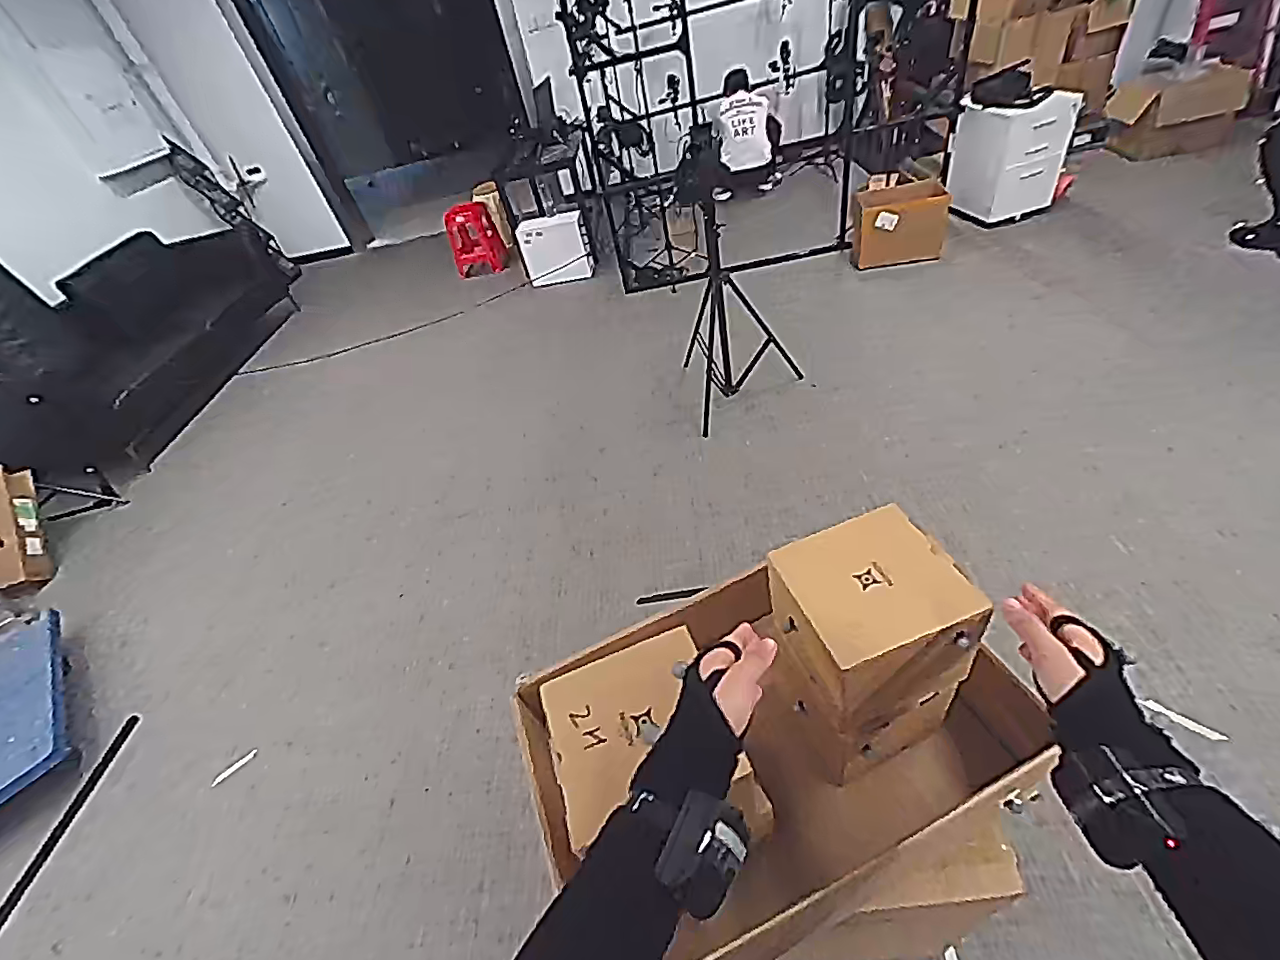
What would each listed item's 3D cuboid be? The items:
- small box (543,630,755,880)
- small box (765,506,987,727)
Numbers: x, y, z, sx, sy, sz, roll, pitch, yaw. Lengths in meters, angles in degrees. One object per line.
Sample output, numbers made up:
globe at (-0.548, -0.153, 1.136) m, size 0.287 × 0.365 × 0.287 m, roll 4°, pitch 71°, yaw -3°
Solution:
small box at (0.013, 0.302, 0.594) m, size 0.179 × 0.176 × 0.168 m, roll -21°, pitch 43°, yaw -6°
small box at (0.273, 0.168, 0.657) m, size 0.179 × 0.176 × 0.168 m, roll -21°, pitch 43°, yaw -5°
